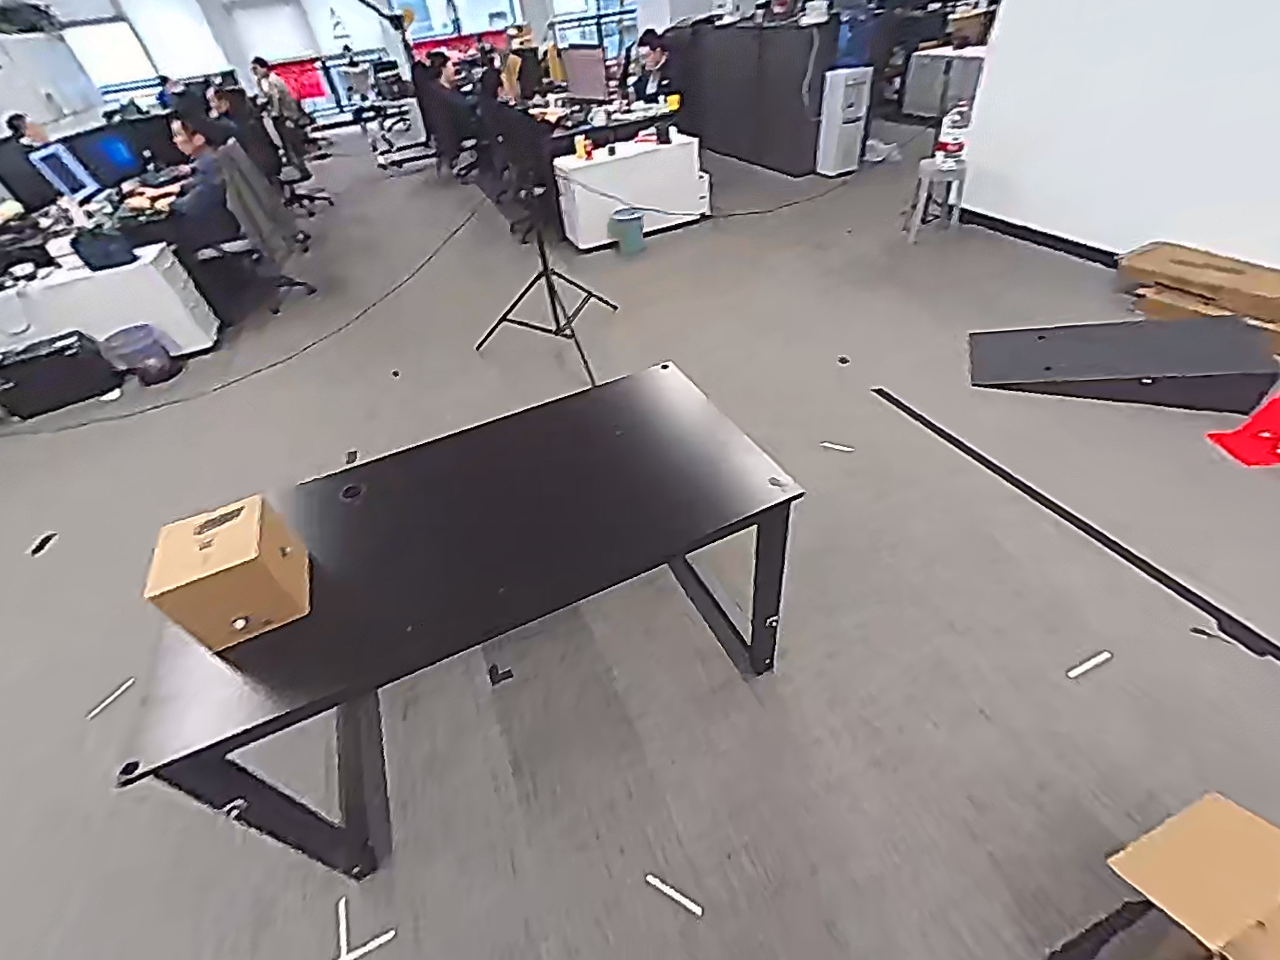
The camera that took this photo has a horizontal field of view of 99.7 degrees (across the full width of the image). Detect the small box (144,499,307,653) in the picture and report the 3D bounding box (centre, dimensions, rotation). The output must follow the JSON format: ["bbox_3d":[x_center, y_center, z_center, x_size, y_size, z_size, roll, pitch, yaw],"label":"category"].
[{"bbox_3d":[-0.724,0.171,0.969,0.168,0.176,0.179,-23,45,-15],"label":"small box"}]
